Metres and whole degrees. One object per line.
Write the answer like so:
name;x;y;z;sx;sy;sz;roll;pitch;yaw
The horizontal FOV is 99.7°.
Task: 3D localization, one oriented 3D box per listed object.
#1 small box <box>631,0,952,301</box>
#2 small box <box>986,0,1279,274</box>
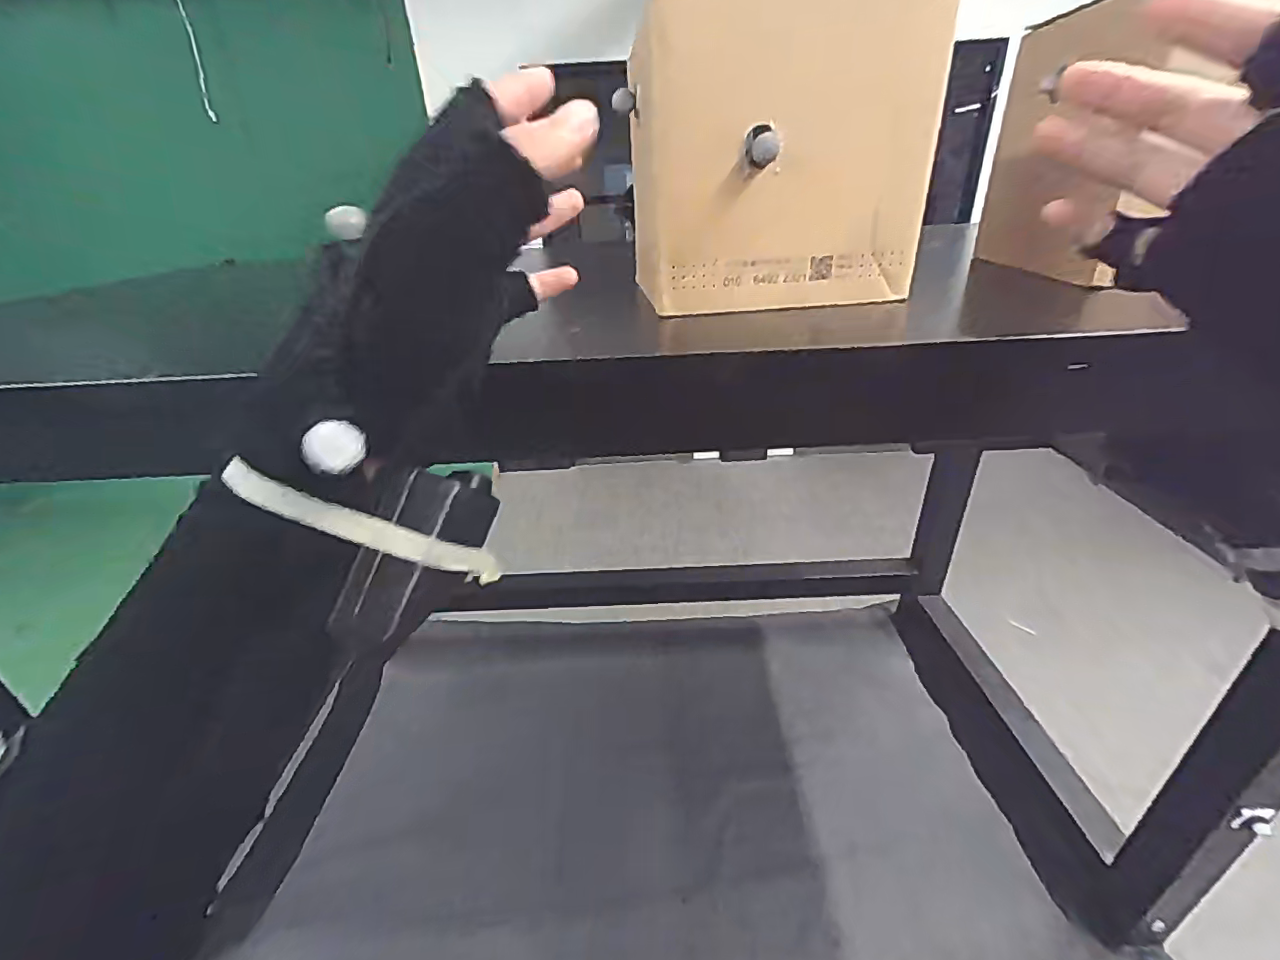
small box;0.084;-0.224;0.380;0.168;0.176;0.179;-5;28;-3
small box;0.378;-0.243;0.376;0.168;0.176;0.179;-1;29;6
